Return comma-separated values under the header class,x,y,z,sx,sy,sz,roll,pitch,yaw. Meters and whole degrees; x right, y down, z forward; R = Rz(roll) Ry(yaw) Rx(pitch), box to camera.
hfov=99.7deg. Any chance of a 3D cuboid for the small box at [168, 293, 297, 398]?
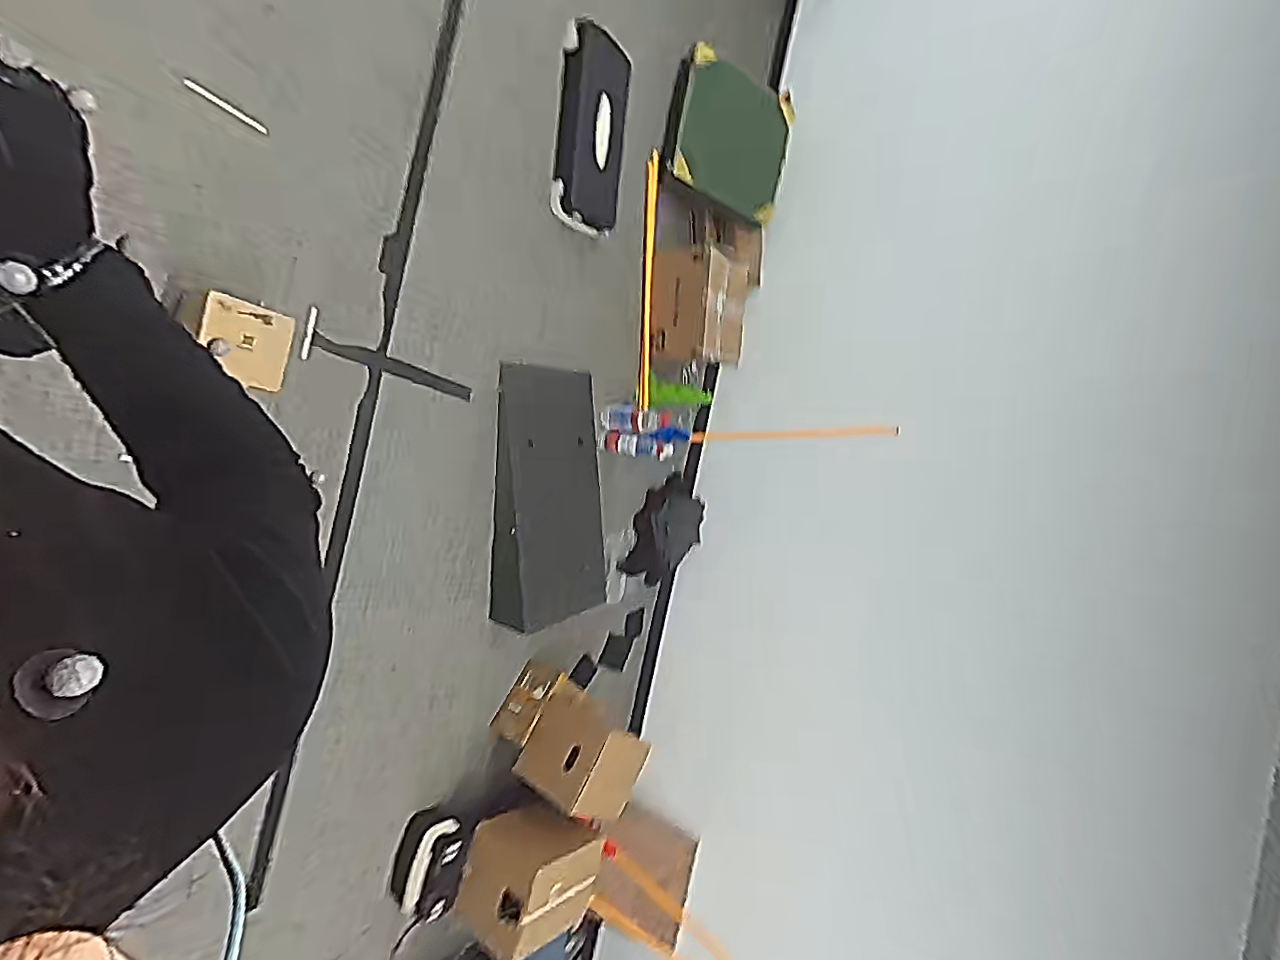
class,x,y,z,sx,sy,sz,roll,pitch,yaw
small box,-0.902,-0.295,1.194,0.168,0.176,0.179,16,87,-56
